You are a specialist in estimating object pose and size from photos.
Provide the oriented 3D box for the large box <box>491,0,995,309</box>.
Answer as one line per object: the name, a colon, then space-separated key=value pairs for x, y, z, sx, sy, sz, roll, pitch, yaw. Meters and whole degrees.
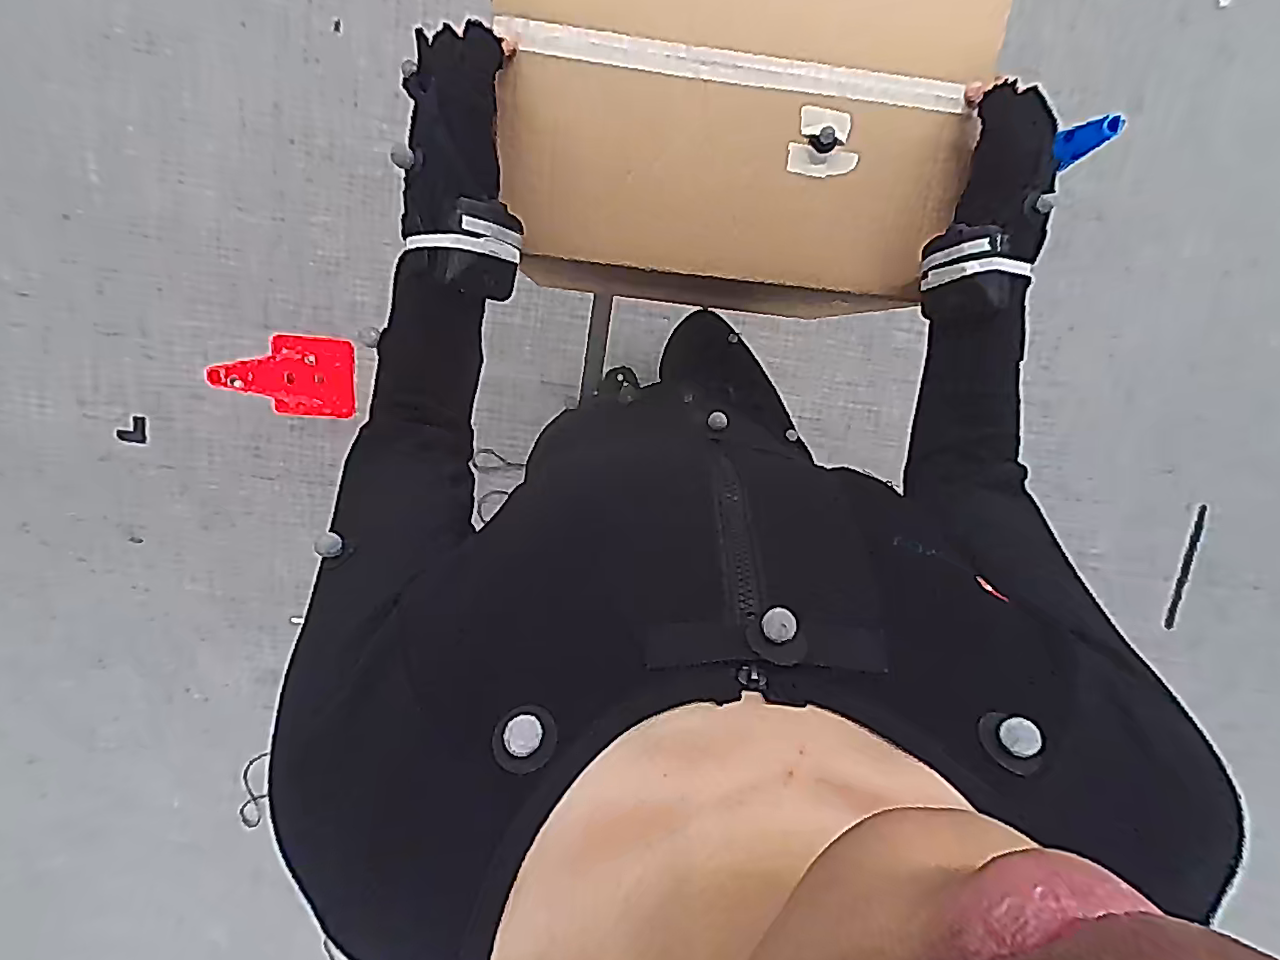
large box: x=0.072 y=-0.372 z=0.580 sx=0.408 sy=0.320 sz=0.320 roll=5 pitch=104 yaw=-5

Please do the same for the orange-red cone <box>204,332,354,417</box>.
orange-red cone: x=-0.814 y=-0.228 z=1.194 sx=0.198 sy=0.360 sz=0.199 roll=5 pitch=102 yaw=-4

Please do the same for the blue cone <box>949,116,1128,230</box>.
blue cone: x=0.905 y=-0.724 z=1.228 sx=0.192 sy=0.380 sz=0.193 roll=10 pitch=100 yaw=-7
